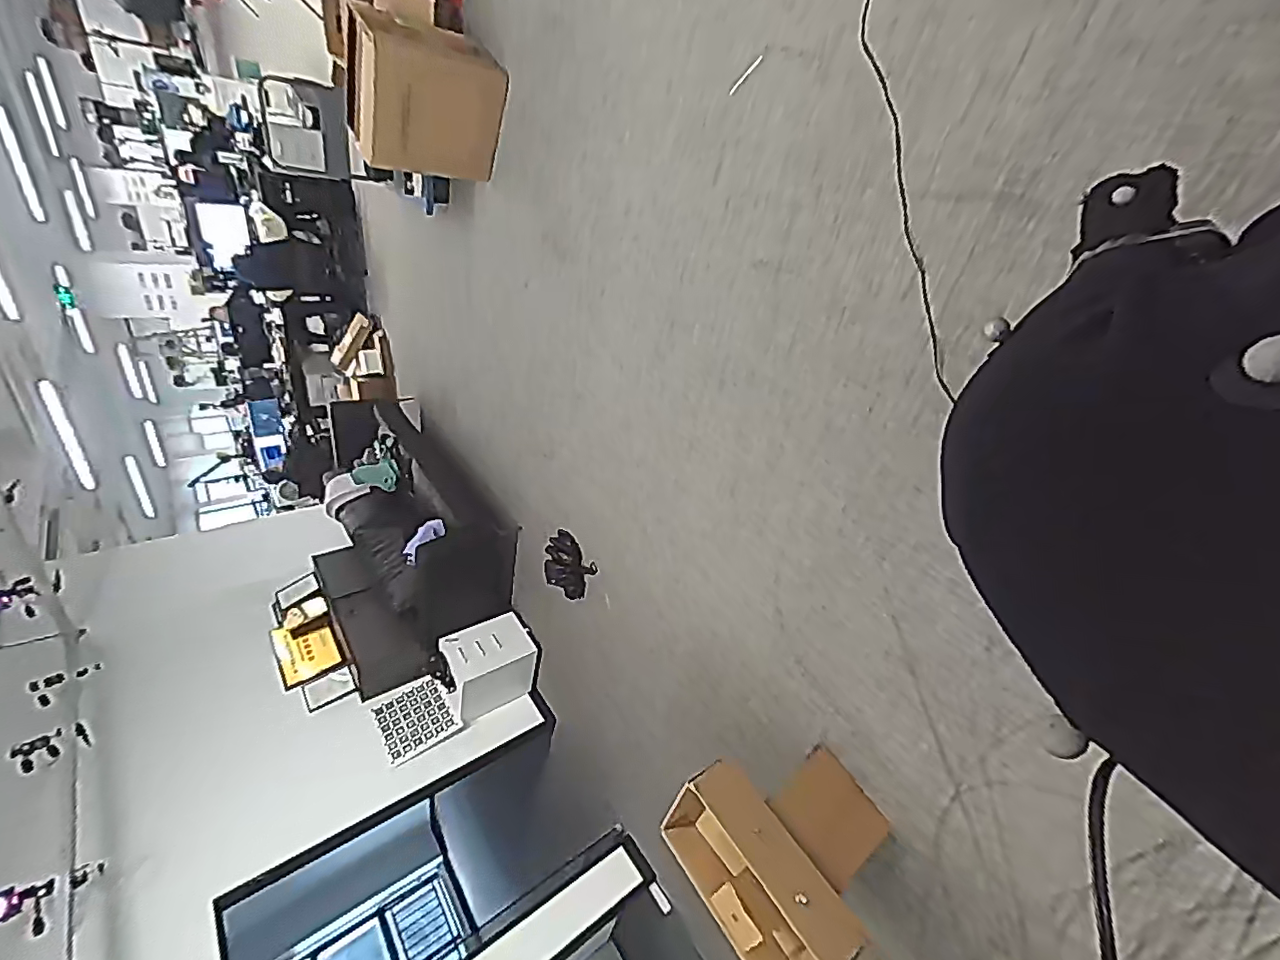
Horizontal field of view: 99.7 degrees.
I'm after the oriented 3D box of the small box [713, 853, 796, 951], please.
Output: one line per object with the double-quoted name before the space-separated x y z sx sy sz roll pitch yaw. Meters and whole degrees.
"small box" 0.365 1.328 1.711 0.168 0.176 0.179 48 139 35
